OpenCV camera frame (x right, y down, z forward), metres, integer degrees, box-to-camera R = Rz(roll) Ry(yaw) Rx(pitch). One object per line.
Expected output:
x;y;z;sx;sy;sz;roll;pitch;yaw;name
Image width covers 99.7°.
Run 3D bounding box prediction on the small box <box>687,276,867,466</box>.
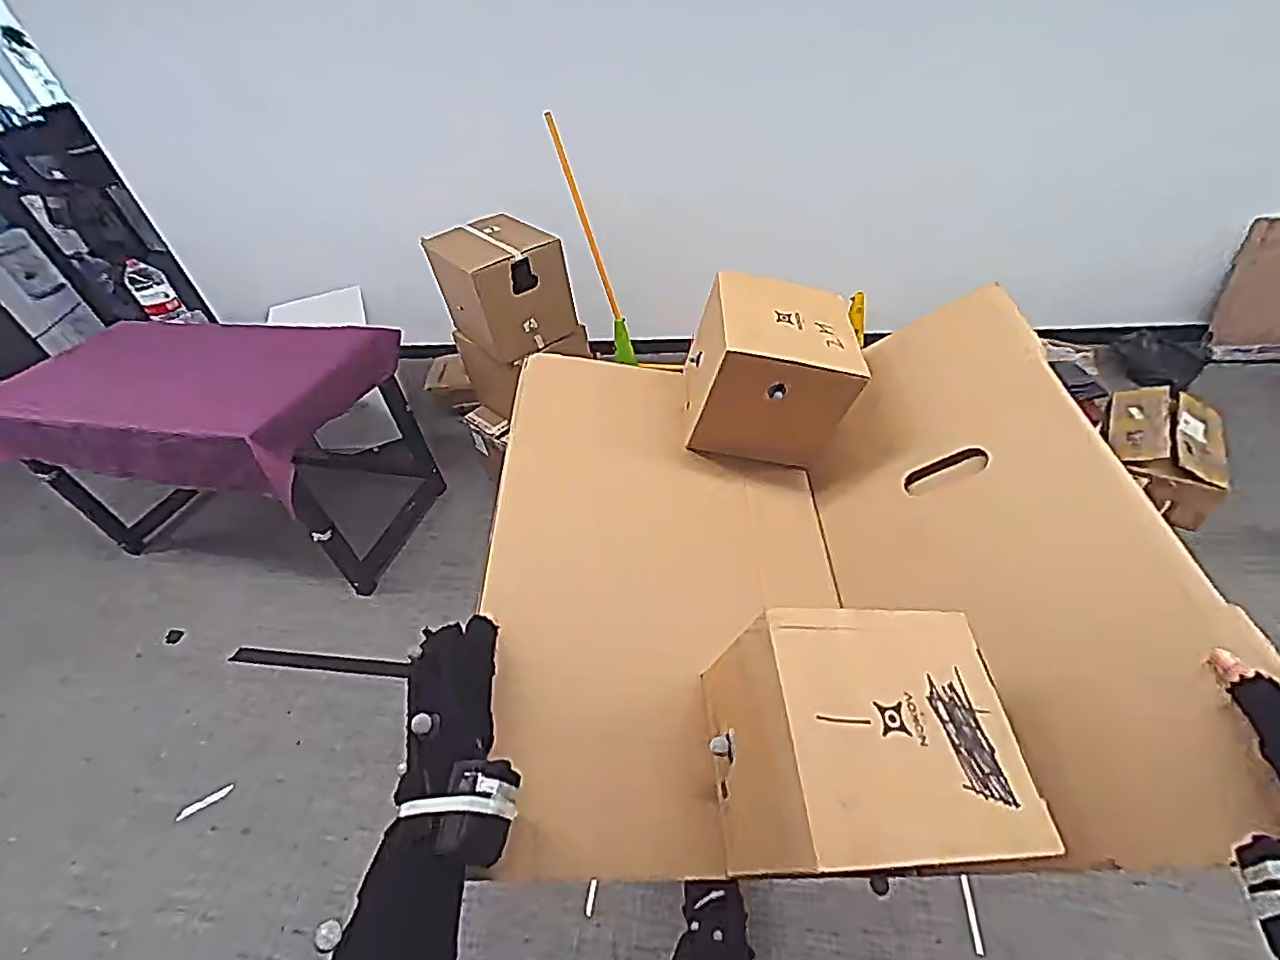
0.164;-0.138;0.719;0.179;0.176;0.168;10;52;-8;small box
